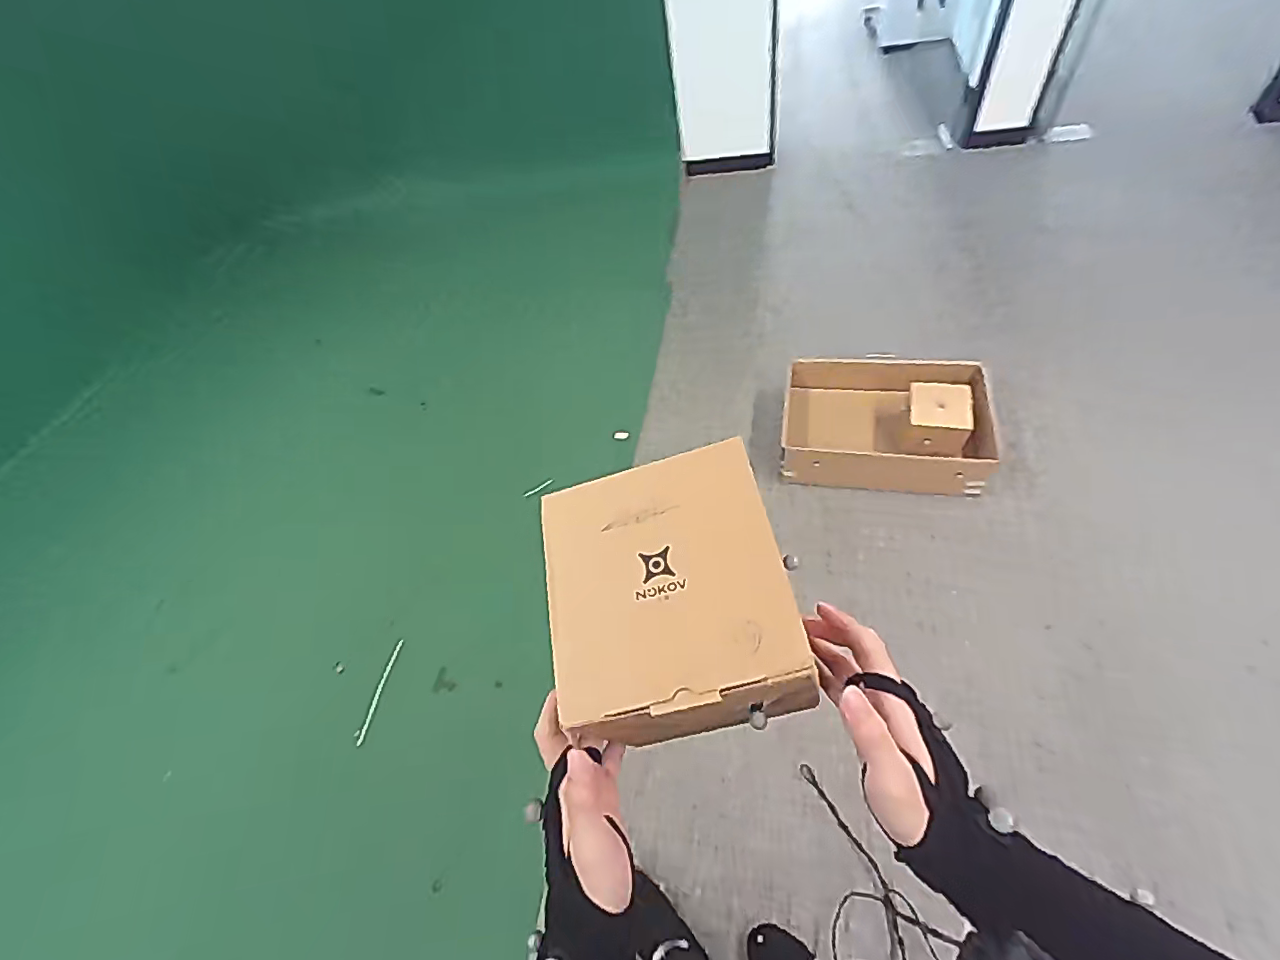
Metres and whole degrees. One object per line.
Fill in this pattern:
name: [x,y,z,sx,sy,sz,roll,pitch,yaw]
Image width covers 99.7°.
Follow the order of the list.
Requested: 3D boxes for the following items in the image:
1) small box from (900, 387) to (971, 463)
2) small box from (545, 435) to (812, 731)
small box: [0.932,-0.171,1.713,0.168,0.176,0.179,6,58,17]
small box: [0.035,0.097,0.443,0.168,0.176,0.179,-16,56,10]
